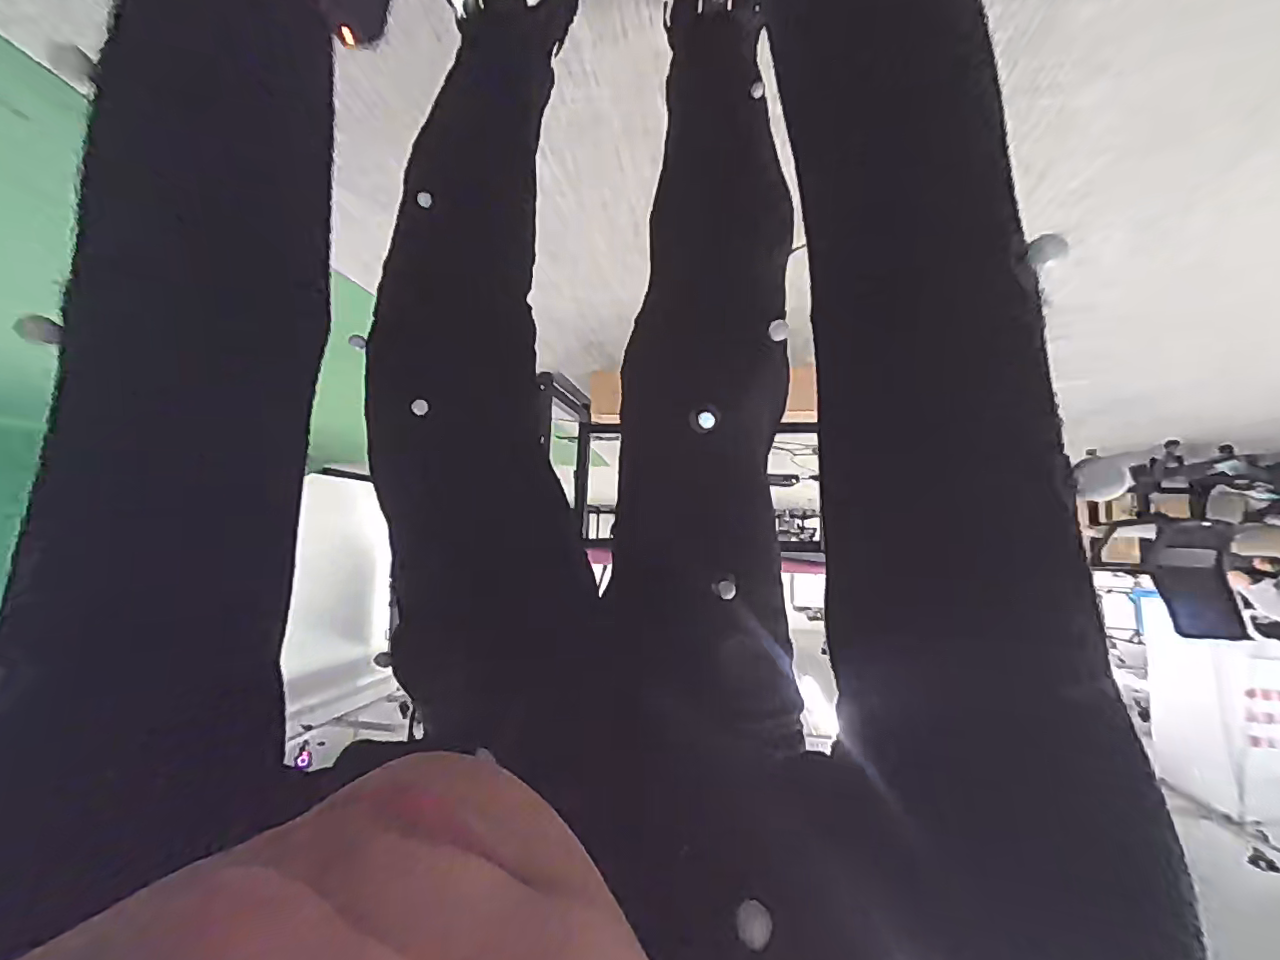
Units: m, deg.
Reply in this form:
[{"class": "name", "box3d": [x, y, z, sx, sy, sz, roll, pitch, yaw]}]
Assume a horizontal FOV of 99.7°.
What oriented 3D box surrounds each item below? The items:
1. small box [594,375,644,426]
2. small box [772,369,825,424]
[{"class": "small box", "box3d": [-0.081, -0.314, 2.135, 0.179, 0.176, 0.168, 1, 173, 8]}, {"class": "small box", "box3d": [0.582, -0.309, 1.994, 0.179, 0.176, 0.168, 1, 173, 11]}]
